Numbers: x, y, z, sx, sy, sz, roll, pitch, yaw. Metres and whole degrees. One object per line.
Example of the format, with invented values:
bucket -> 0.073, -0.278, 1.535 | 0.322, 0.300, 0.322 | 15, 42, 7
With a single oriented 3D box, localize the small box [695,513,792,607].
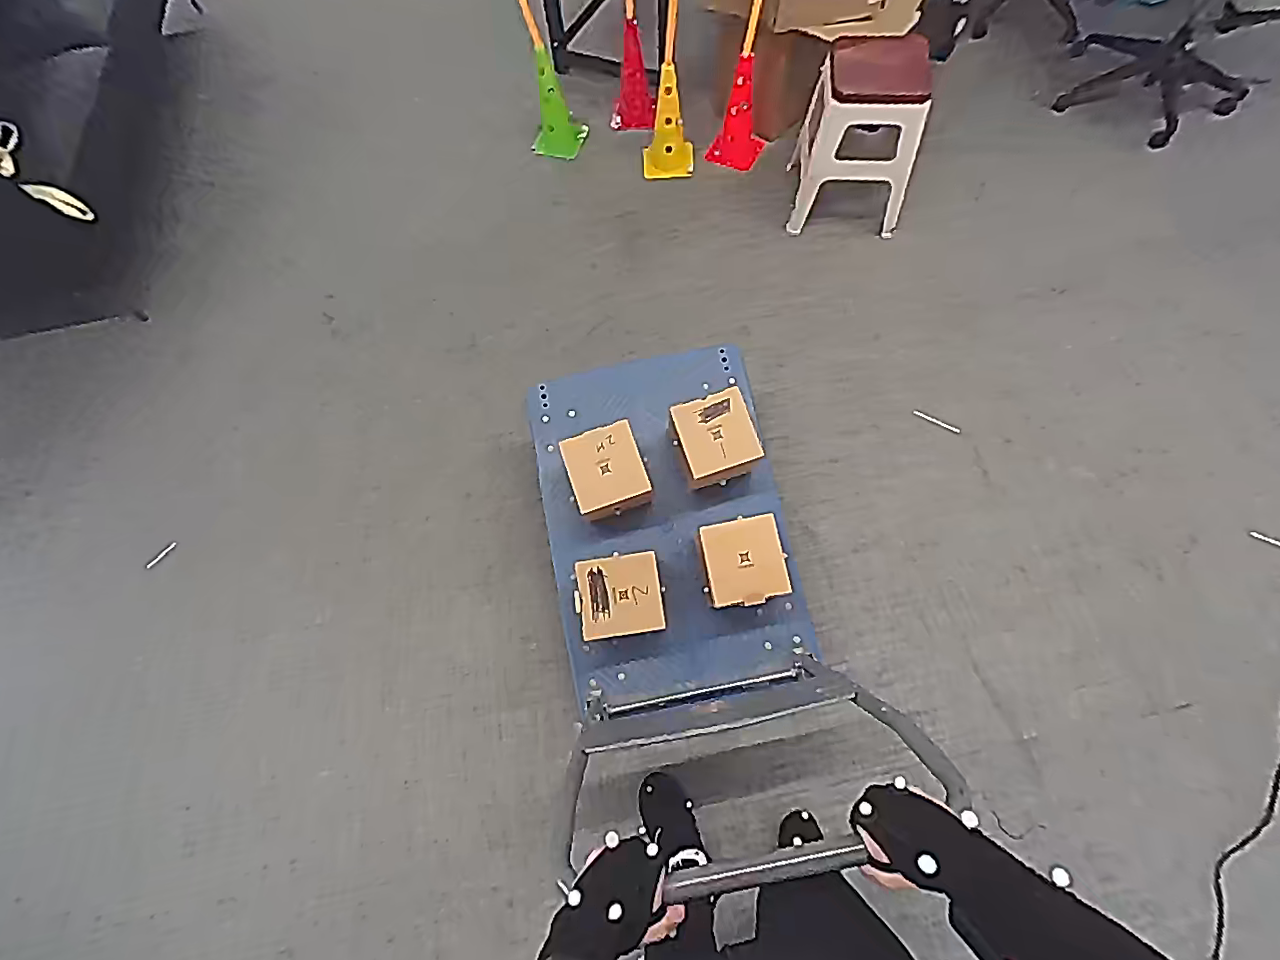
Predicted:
small box -> 0.225, 0.185, 1.227 | 0.168, 0.176, 0.179 | -11, 80, -1

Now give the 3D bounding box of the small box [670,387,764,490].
small box -> 0.174, -0.092, 1.280 | 0.168, 0.176, 0.179 | -18, 80, -2

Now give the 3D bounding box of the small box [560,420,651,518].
small box -> -0.074, -0.016, 1.270 | 0.168, 0.176, 0.179 | -18, 79, -3
